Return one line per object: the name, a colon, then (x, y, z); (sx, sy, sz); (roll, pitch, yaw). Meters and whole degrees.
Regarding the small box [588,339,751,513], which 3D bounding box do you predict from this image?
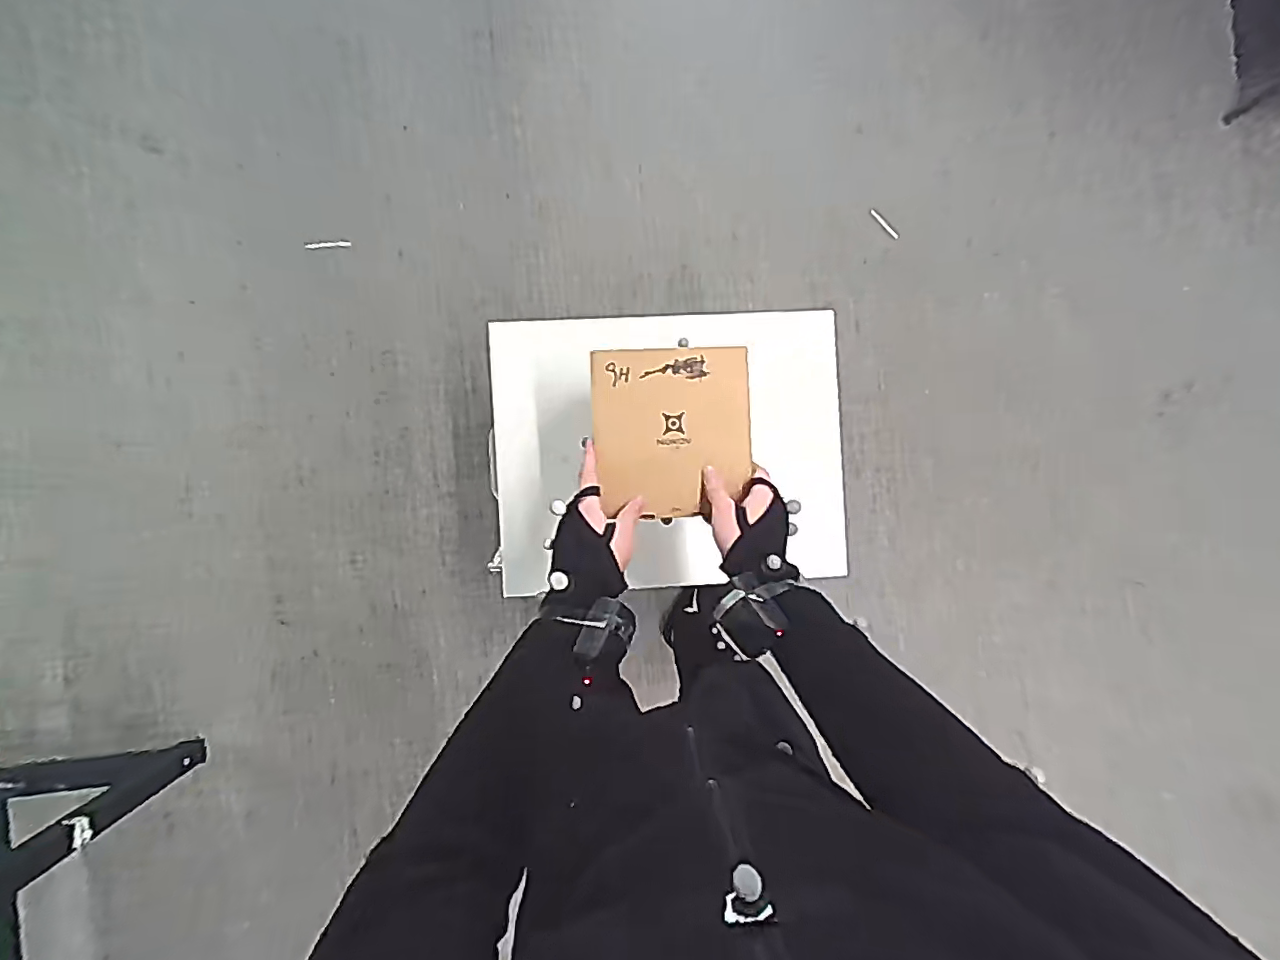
small box: (0.029, -0.058, 0.648); (0.168, 0.176, 0.179); (-4, 90, -3)
